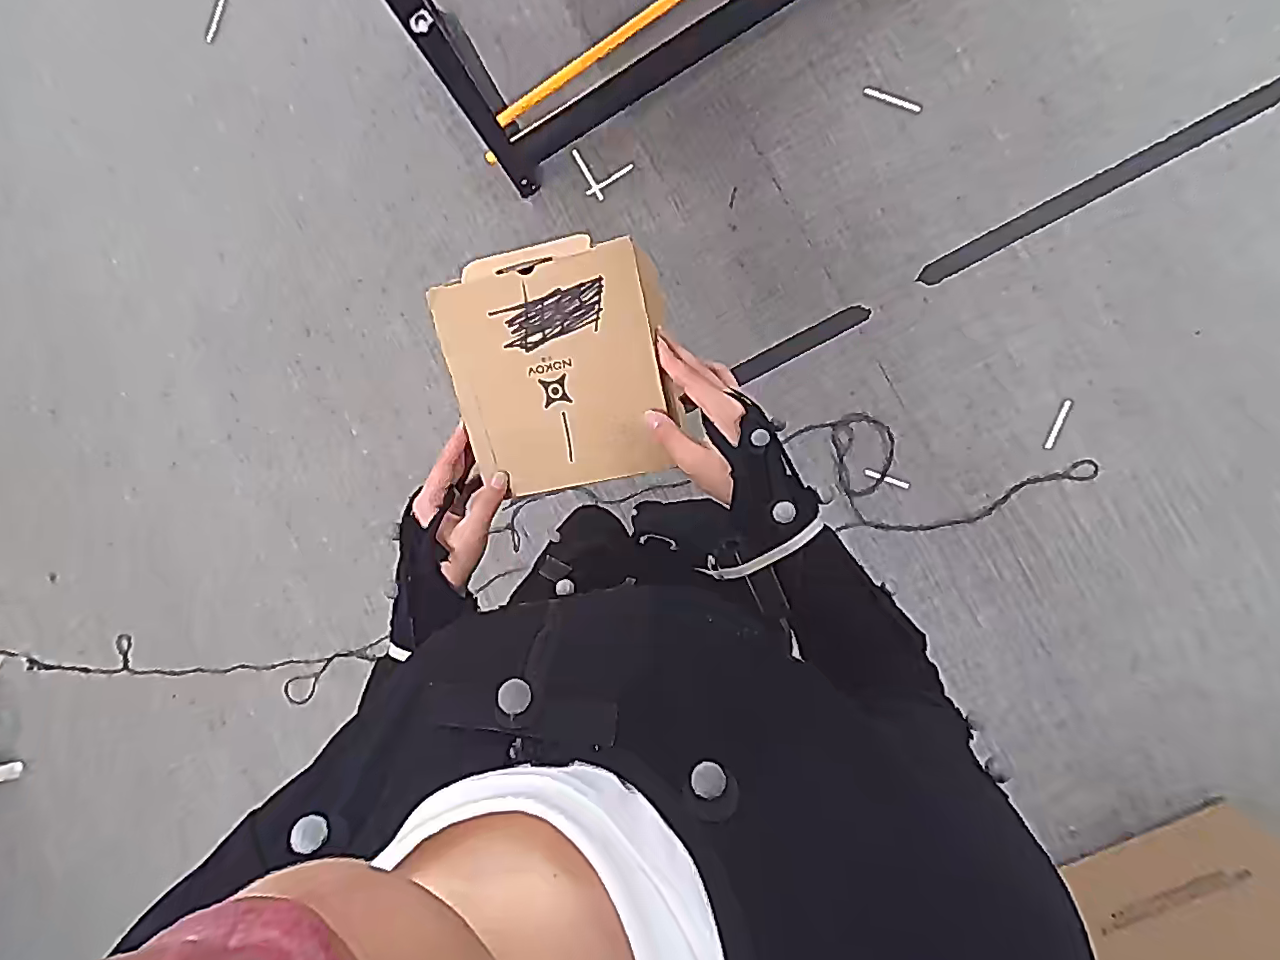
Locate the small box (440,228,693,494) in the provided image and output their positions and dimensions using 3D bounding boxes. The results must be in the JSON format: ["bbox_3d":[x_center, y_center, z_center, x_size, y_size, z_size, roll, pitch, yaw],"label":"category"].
[{"bbox_3d":[-0.047,-0.102,0.487,0.168,0.176,0.179,-10,103,10],"label":"small box"}]
